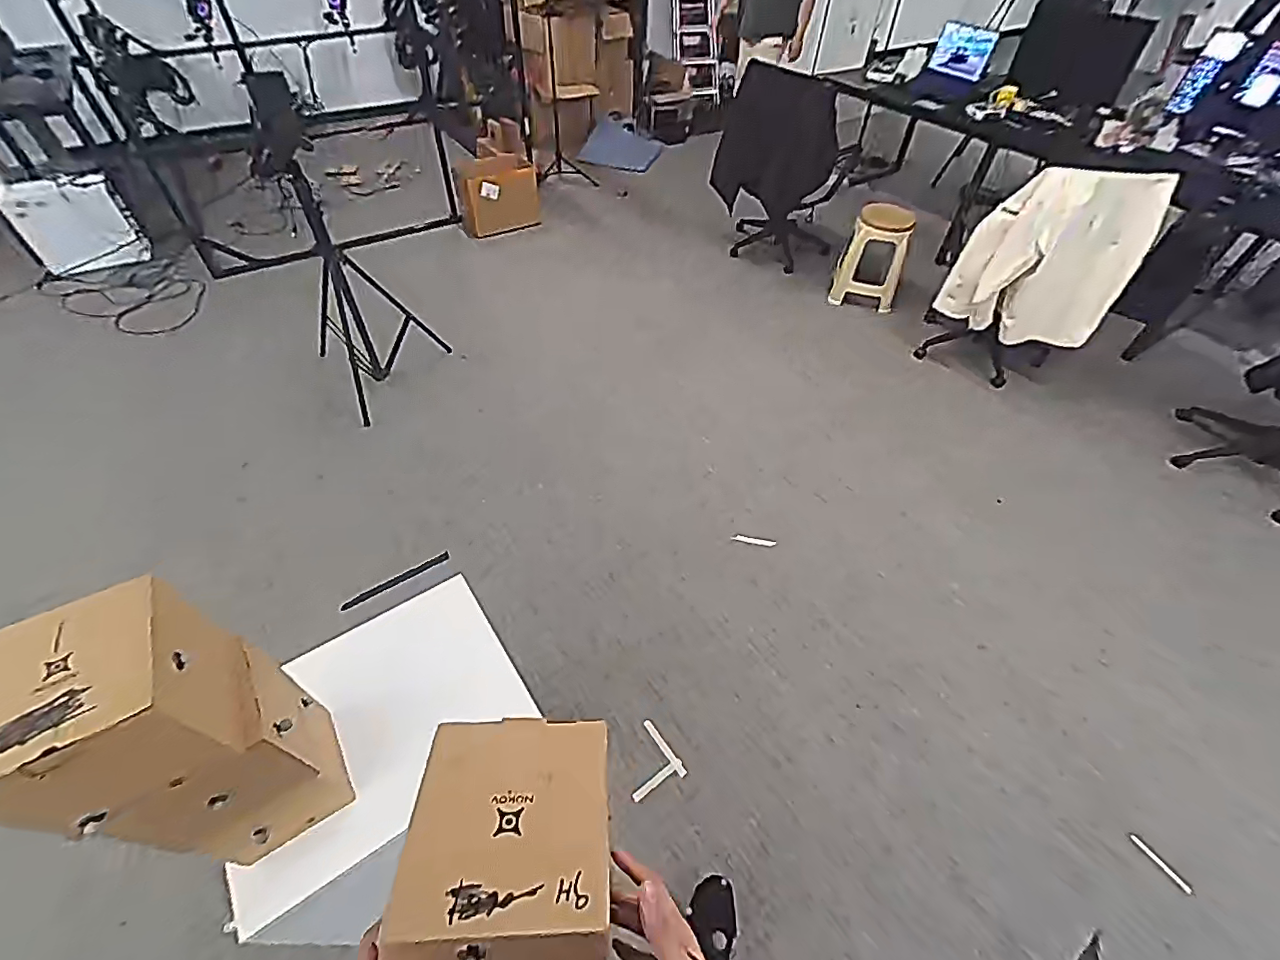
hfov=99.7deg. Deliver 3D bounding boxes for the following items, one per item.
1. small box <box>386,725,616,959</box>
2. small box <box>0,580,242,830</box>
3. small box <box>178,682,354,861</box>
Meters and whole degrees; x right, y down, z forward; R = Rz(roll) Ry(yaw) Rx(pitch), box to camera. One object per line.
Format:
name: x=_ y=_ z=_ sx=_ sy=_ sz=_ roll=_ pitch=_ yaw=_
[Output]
small box: x=-0.112 y=0.354 z=0.495 sx=0.168 sy=0.176 sz=0.179 roll=2 pitch=29 yaw=-6
small box: x=-0.570 y=0.249 z=0.590 sx=0.168 sy=0.176 sz=0.179 roll=-24 pitch=53 yaw=-21
small box: x=-0.576 y=0.458 z=0.844 sx=0.168 sy=0.176 sz=0.179 roll=-26 pitch=55 yaw=-23
